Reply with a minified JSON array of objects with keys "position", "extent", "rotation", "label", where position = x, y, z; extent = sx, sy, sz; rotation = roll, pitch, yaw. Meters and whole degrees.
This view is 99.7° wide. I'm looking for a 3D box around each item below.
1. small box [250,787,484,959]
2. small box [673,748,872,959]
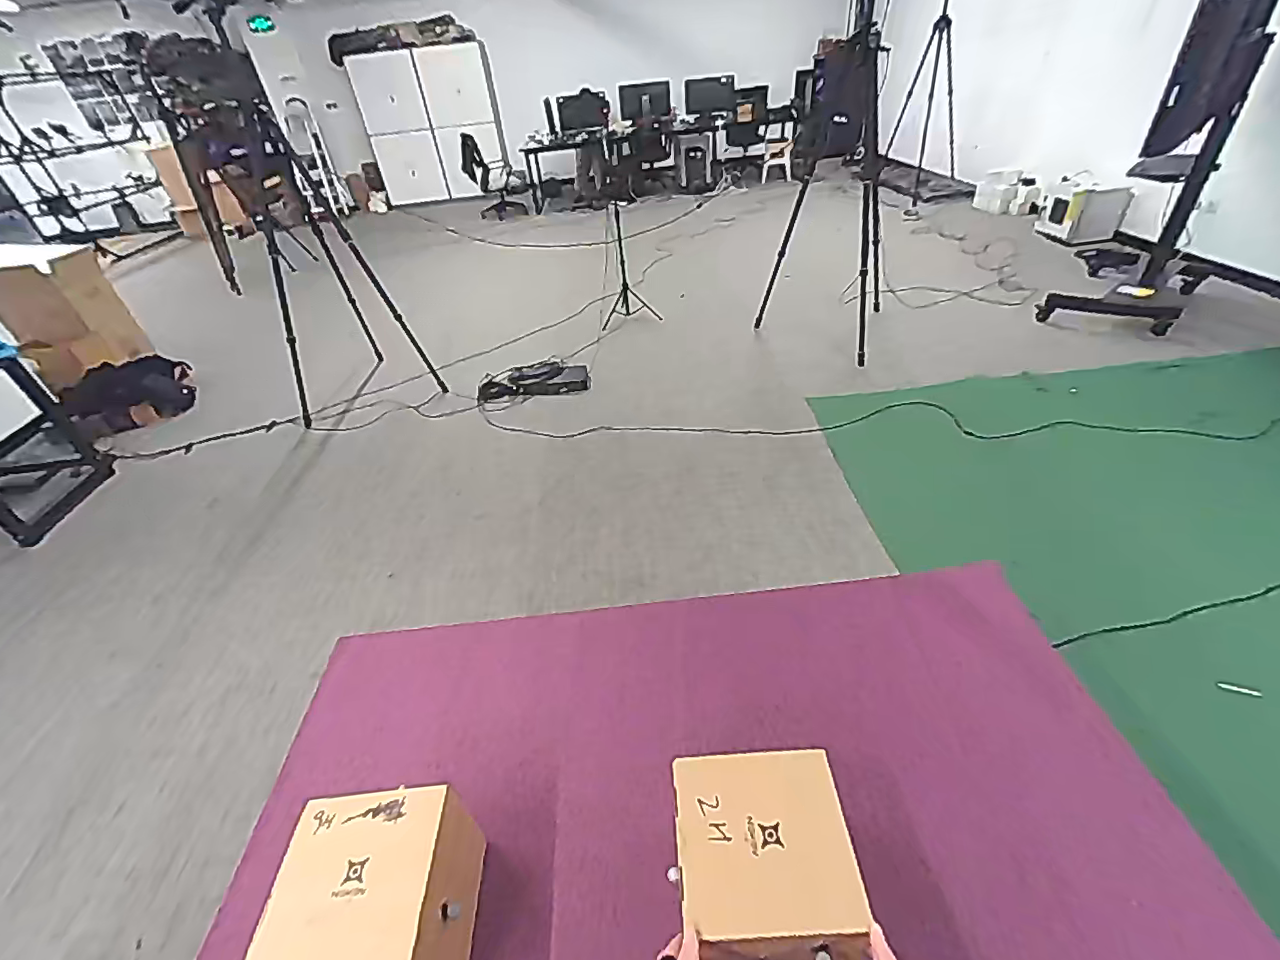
[{"position":[-0.287,0.479,0.608],"extent":[0.168,0.176,0.179],"rotation":[-7,38,1],"label":"small box"},{"position":[0.132,0.424,0.604],"extent":[0.179,0.176,0.168],"rotation":[-6,37,3],"label":"small box"}]
